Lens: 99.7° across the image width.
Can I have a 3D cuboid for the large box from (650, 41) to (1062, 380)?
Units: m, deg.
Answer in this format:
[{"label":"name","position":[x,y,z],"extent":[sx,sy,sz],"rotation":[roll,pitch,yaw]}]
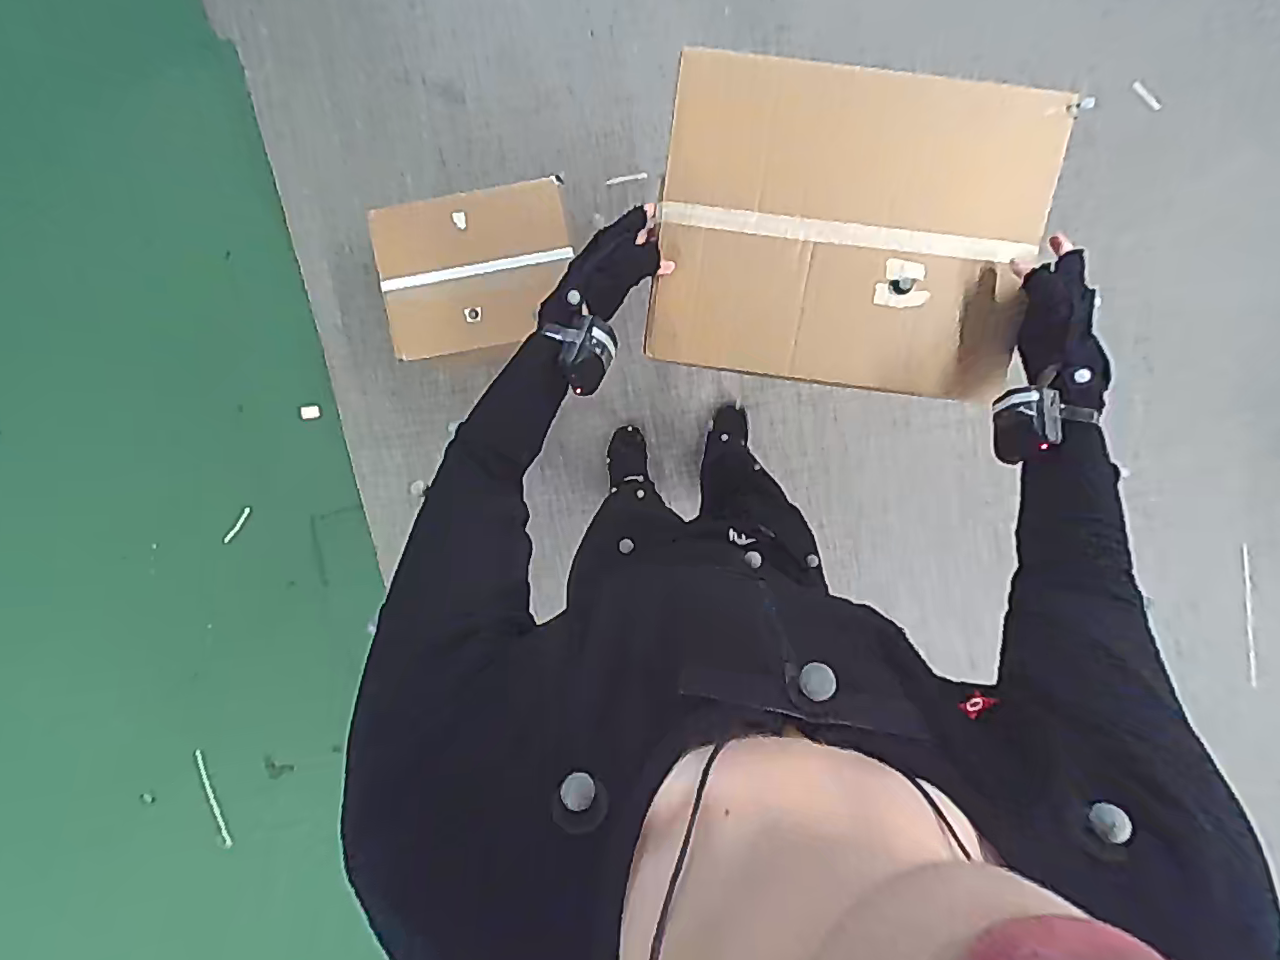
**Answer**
[{"label":"large box","position":[0.225,-0.313,0.731],"extent":[0.408,0.320,0.320],"rotation":[7,103,0]}]
